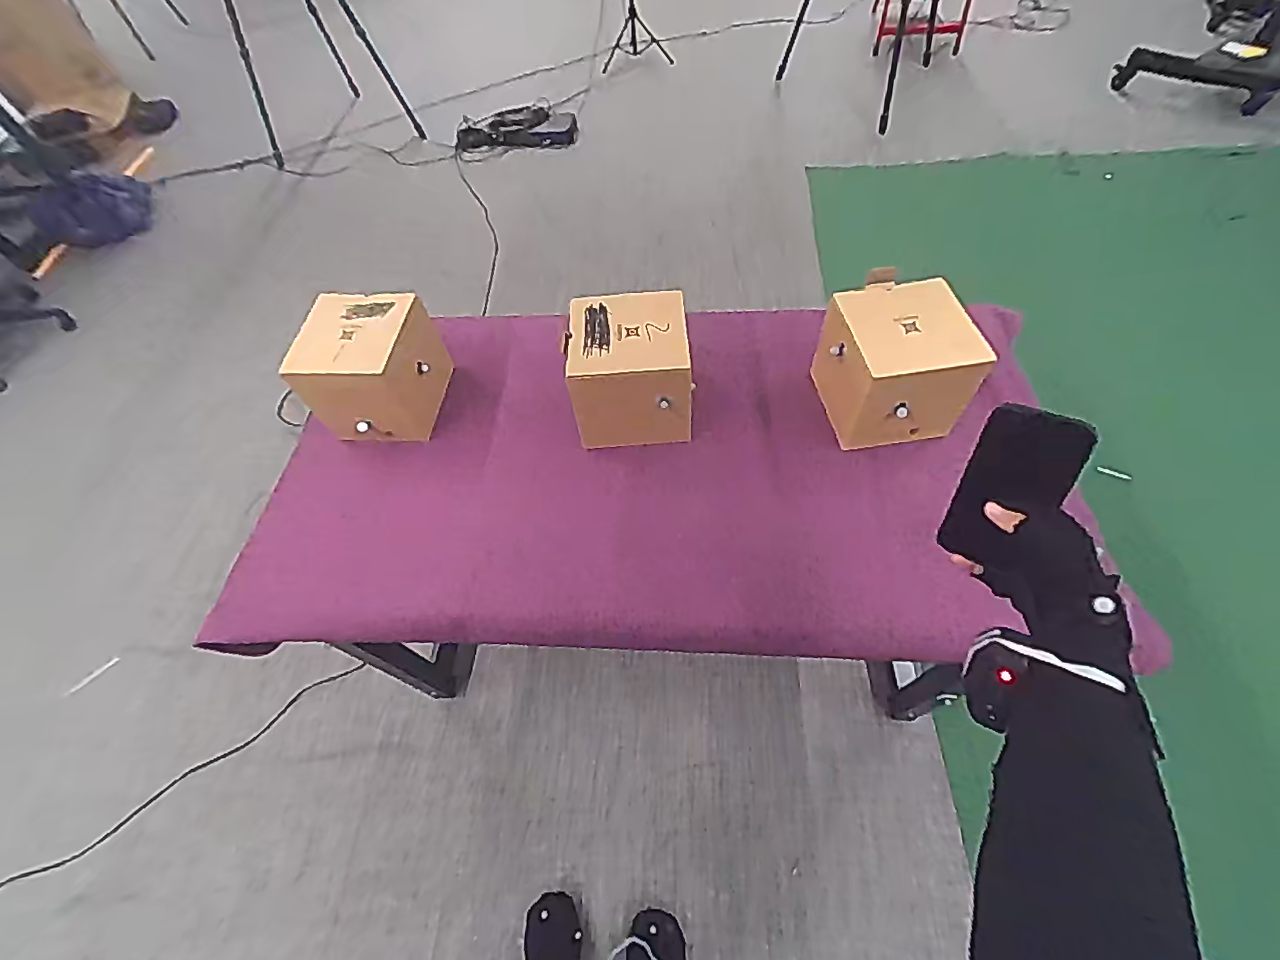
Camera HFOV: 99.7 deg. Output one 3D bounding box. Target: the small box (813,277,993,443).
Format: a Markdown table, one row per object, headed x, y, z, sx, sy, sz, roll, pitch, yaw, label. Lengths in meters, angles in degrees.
| x | y | z | sx | sy | sz | roll | pitch | yaw | label |
| --- | --- | --- | --- | --- | --- | --- | --- | --- | --- |
| 0.375 | -0.169 | 0.810 | 0.168 | 0.176 | 0.179 | -8 | 57 | 0 | small box |

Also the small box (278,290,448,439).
| x | y | z | sx | sy | sz | roll | pitch | yaw | label |
| --- | --- | --- | --- | --- | --- | --- | --- | --- | --- |
| -0.435 | -0.188 | 0.888 | 0.168 | 0.176 | 0.179 | 2 | 59 | 6 | small box |
